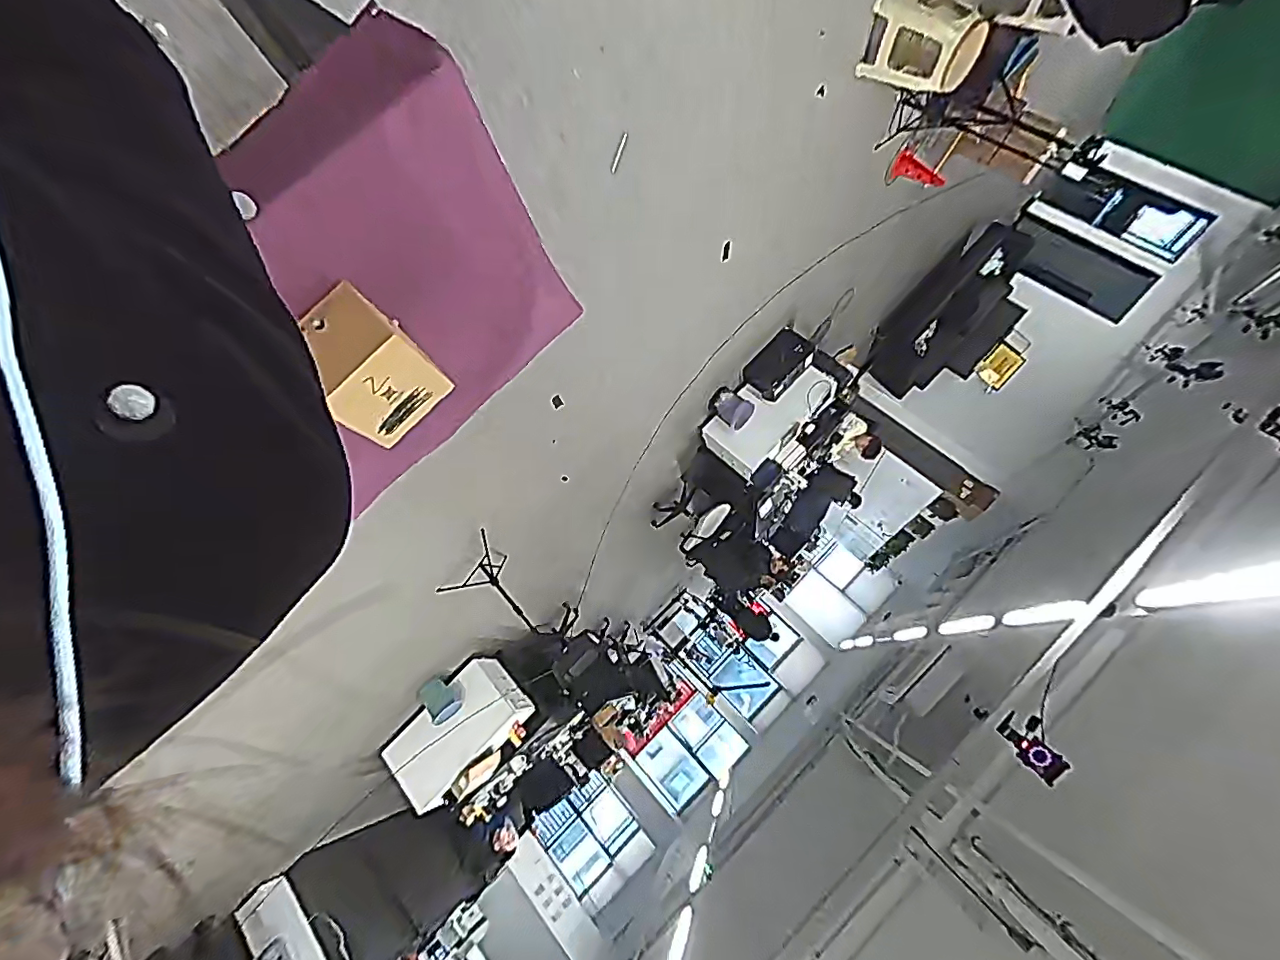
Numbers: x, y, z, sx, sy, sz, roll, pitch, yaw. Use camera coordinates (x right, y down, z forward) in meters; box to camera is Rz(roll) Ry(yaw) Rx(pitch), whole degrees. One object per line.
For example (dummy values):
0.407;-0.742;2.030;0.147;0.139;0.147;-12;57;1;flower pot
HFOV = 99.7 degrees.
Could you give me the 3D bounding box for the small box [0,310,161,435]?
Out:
-1.205;-0.234;1.157;0.168;0.176;0.179;-45;160;-6;small box
